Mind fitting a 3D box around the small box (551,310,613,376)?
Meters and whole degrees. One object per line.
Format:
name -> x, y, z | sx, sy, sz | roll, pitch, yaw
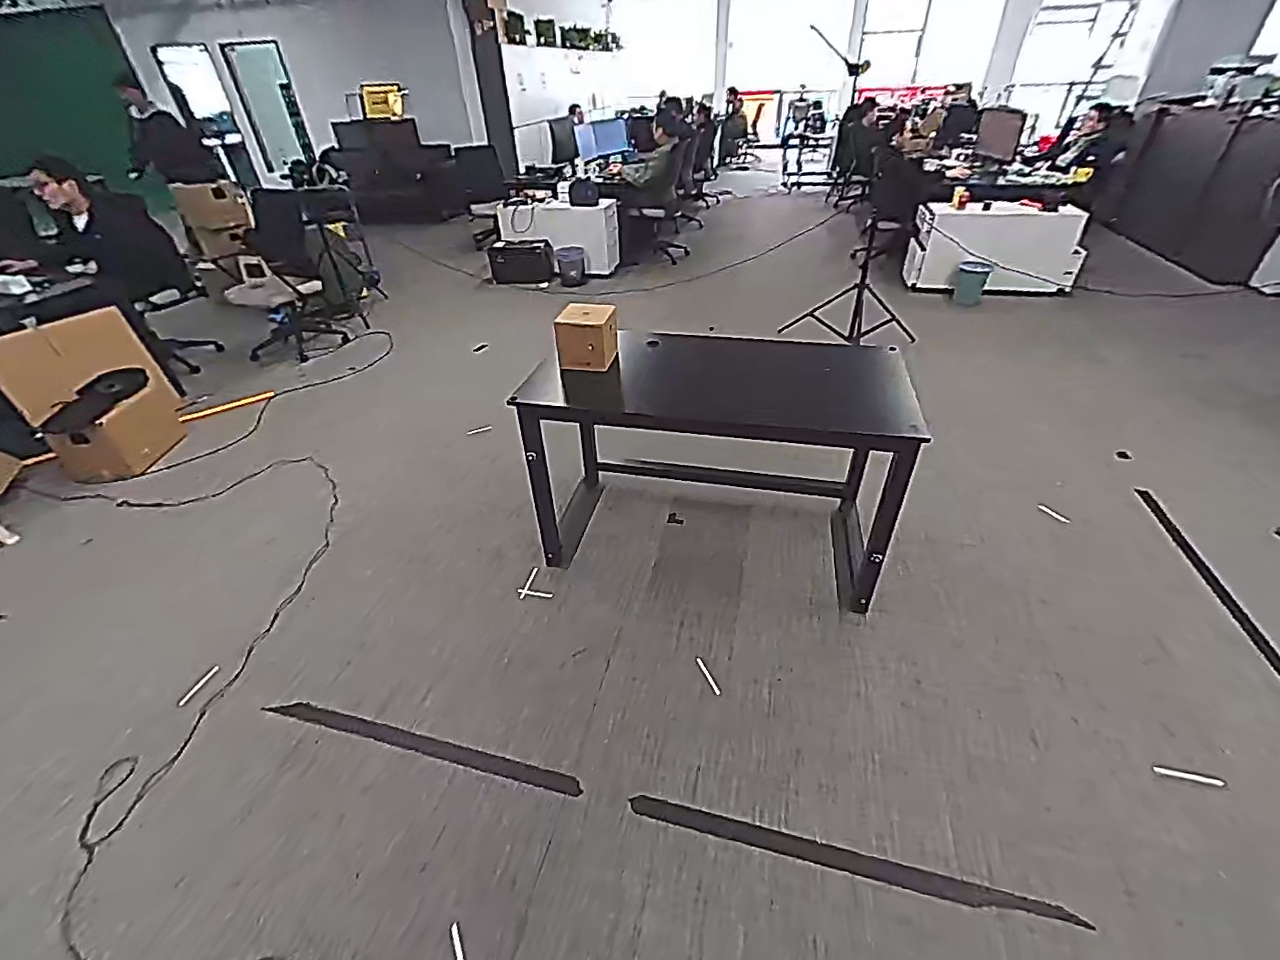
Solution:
small box -> -0.189, -0.468, 1.843 | 0.168, 0.176, 0.179 | 6, 37, 9
